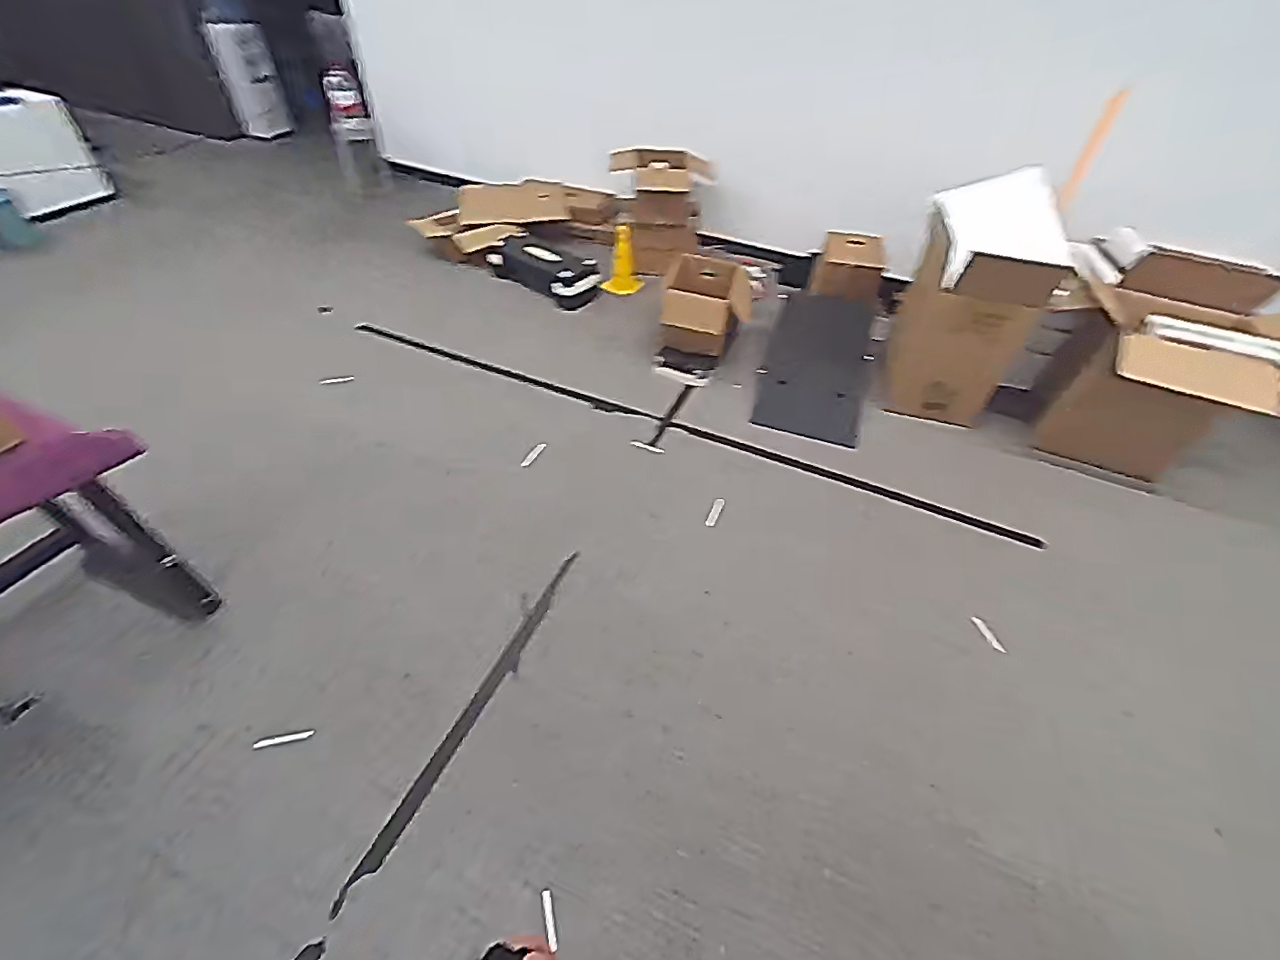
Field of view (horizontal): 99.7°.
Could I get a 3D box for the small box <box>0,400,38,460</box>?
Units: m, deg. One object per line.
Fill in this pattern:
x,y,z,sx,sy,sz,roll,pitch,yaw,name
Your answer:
-1.447,-0.124,1.129,0.179,0.176,0.168,21,49,18,small box
